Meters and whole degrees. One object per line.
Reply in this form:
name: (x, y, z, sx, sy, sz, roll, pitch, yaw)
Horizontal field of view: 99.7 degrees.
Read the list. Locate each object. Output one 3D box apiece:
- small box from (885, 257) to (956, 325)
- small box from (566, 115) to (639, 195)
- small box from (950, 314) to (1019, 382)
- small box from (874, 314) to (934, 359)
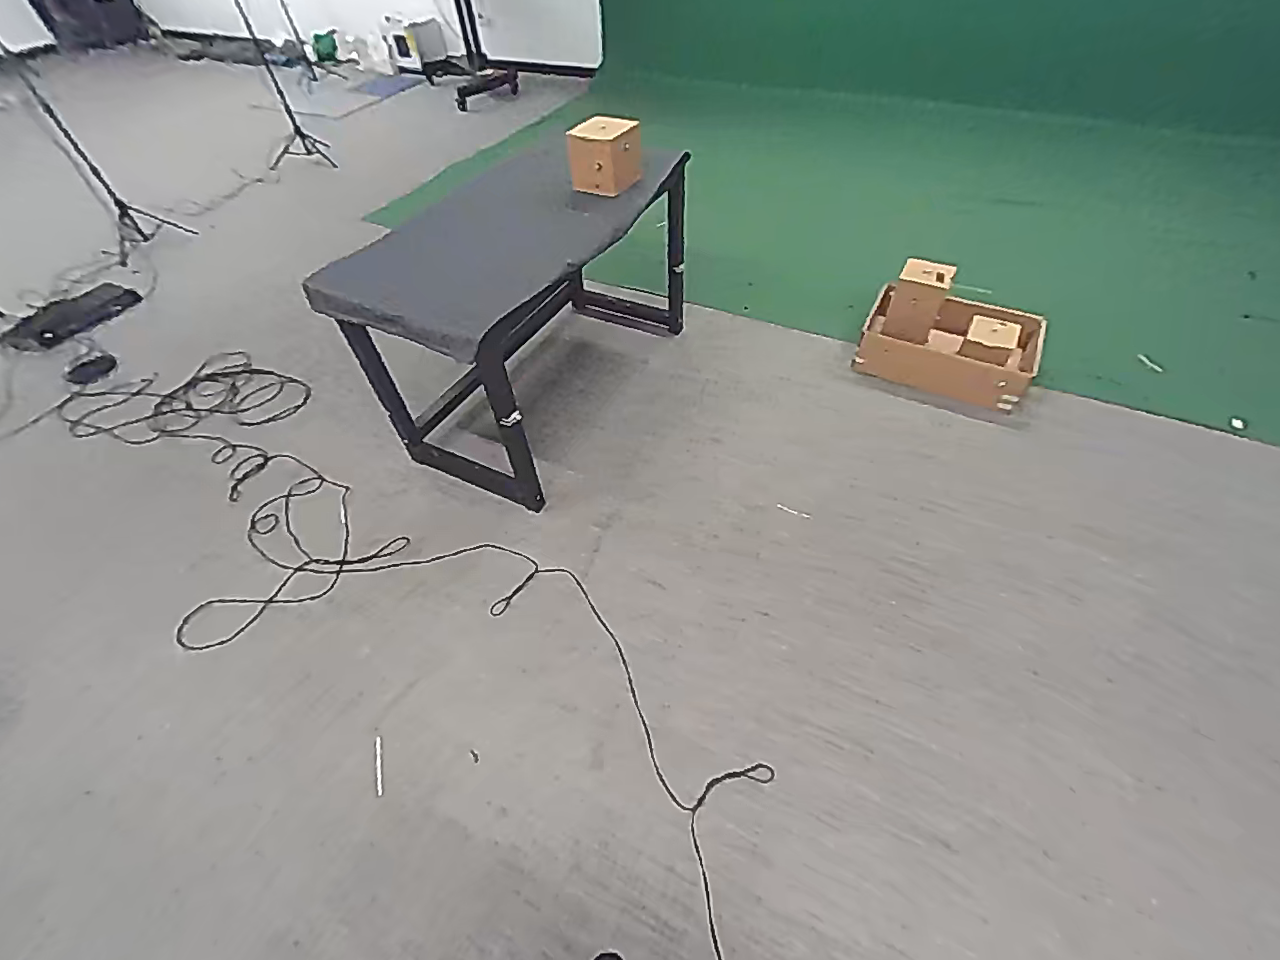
small box: (1.070, -0.720, 2.070, 0.179, 0.176, 0.168, 23, 55, 20)
small box: (-0.111, -1.039, 1.732, 0.168, 0.176, 0.179, 24, 55, 21)
small box: (1.333, -0.509, 2.098, 0.168, 0.176, 0.179, 23, 57, 21)
small box: (1.078, -0.619, 2.200, 0.179, 0.176, 0.168, 23, 56, 19)
